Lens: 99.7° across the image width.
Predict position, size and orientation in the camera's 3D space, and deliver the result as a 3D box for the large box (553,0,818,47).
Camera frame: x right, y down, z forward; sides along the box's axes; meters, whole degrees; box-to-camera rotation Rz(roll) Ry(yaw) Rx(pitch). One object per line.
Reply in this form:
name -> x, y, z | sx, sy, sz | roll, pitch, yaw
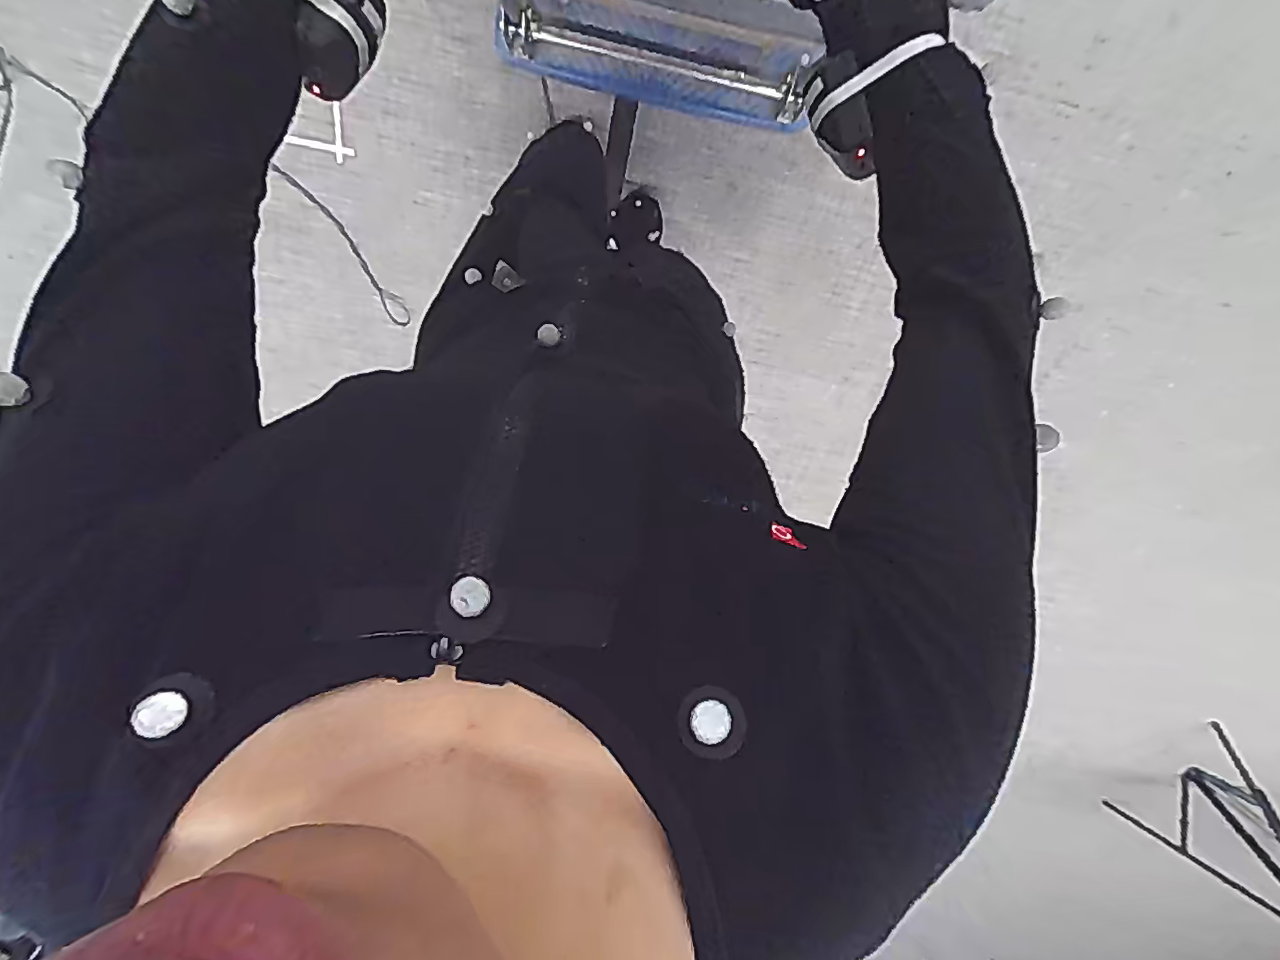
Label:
large box -> 0.055, -0.825, 0.708 | 0.408, 0.320, 0.320 | 9, 120, -5
